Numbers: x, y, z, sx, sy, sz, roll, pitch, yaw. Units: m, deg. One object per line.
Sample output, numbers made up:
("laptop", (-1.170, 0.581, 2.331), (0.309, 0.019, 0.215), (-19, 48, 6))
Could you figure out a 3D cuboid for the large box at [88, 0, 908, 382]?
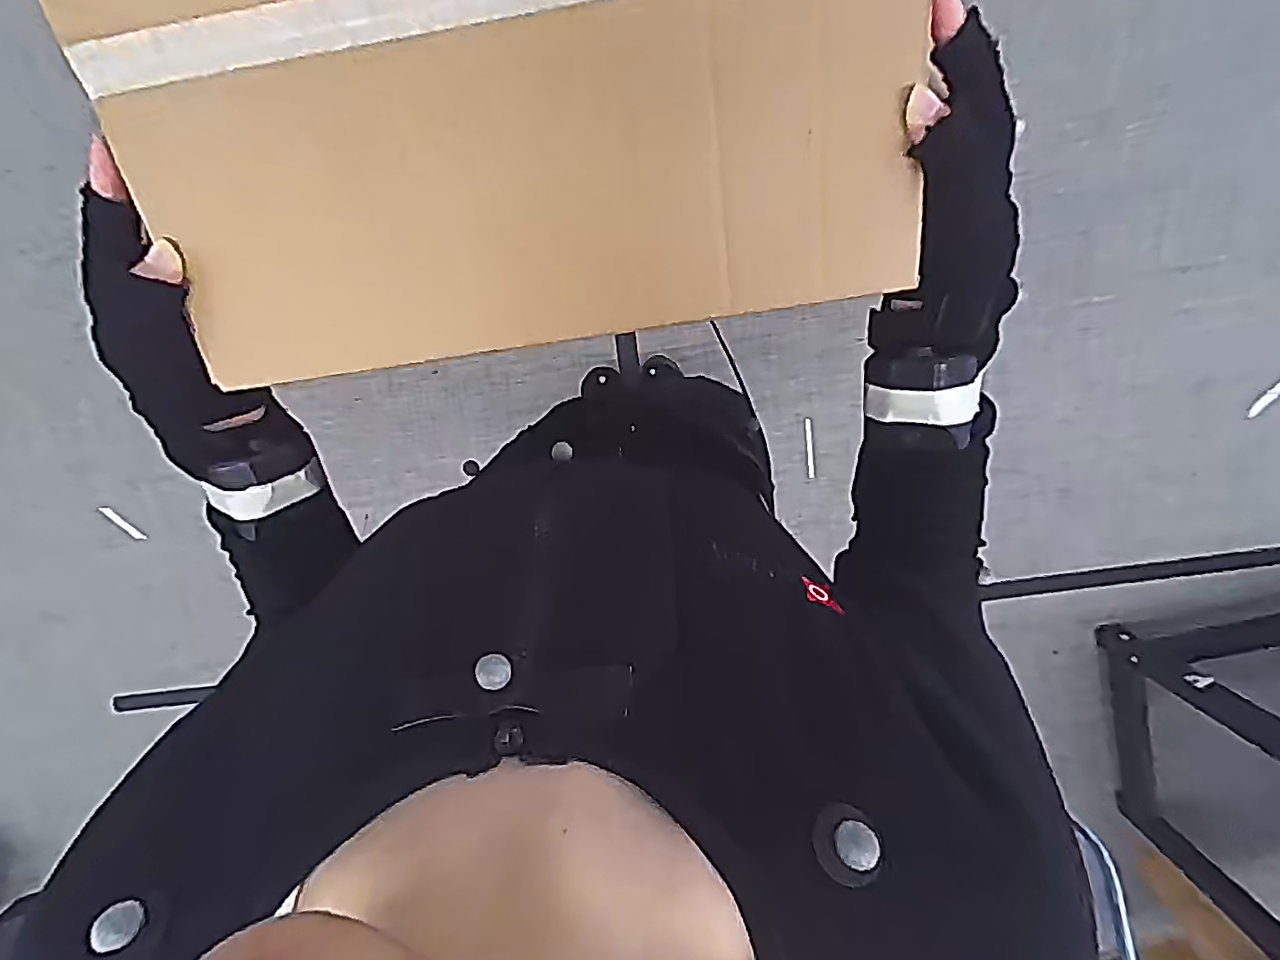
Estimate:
("large box", (-0.070, -0.281, 0.404), (0.408, 0.320, 0.320), (-8, 111, 3))
